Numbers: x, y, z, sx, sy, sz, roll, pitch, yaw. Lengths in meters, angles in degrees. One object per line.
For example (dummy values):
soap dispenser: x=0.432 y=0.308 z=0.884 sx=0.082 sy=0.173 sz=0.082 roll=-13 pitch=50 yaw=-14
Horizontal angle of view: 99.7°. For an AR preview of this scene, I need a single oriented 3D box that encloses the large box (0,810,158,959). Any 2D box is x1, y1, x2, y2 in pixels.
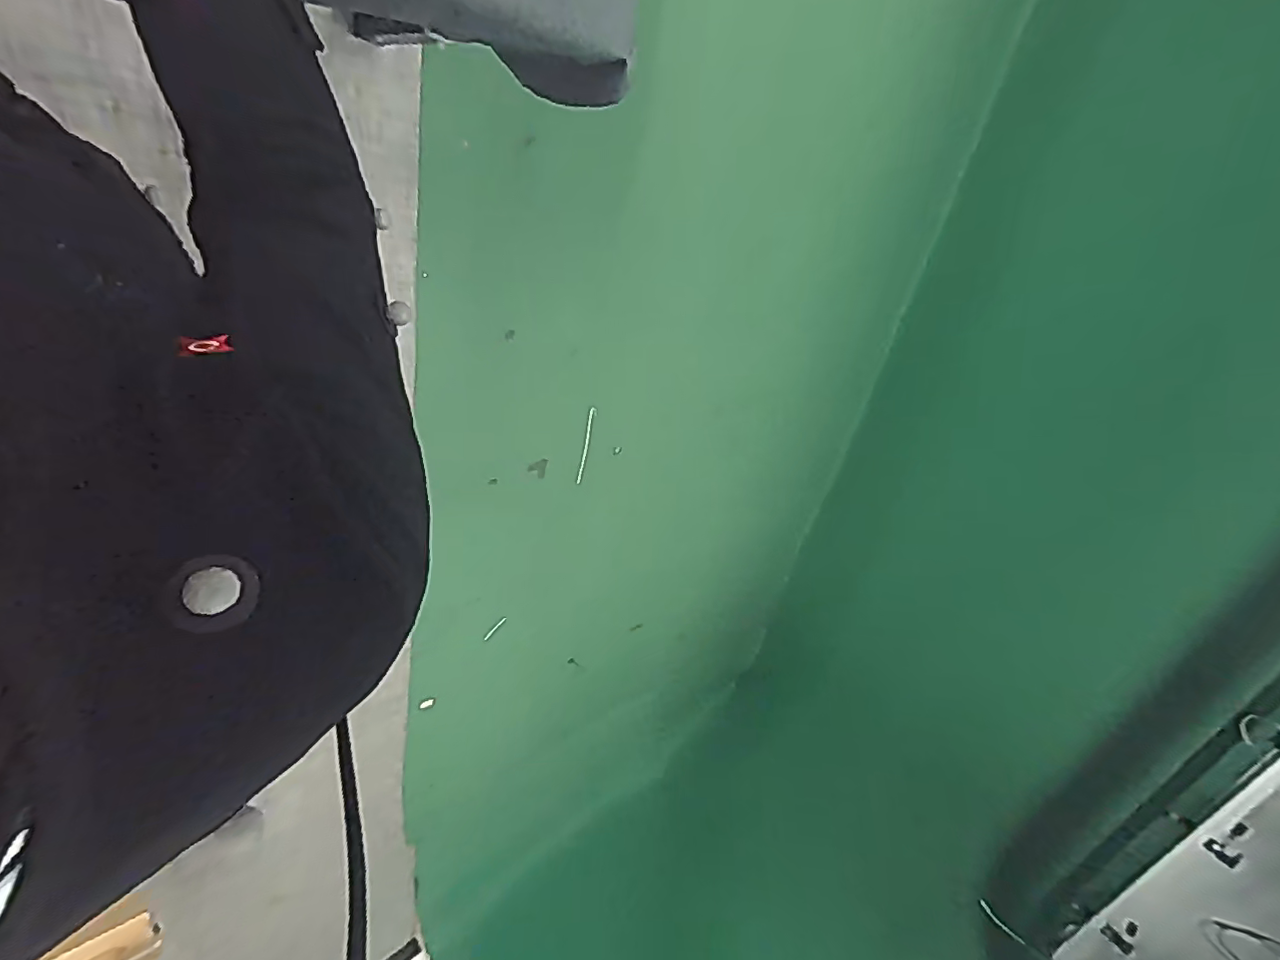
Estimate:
large box: x=-1.453 y=1.107 z=1.295 sx=0.408 sy=0.320 sz=0.320 roll=-9 pitch=123 yaw=-45
